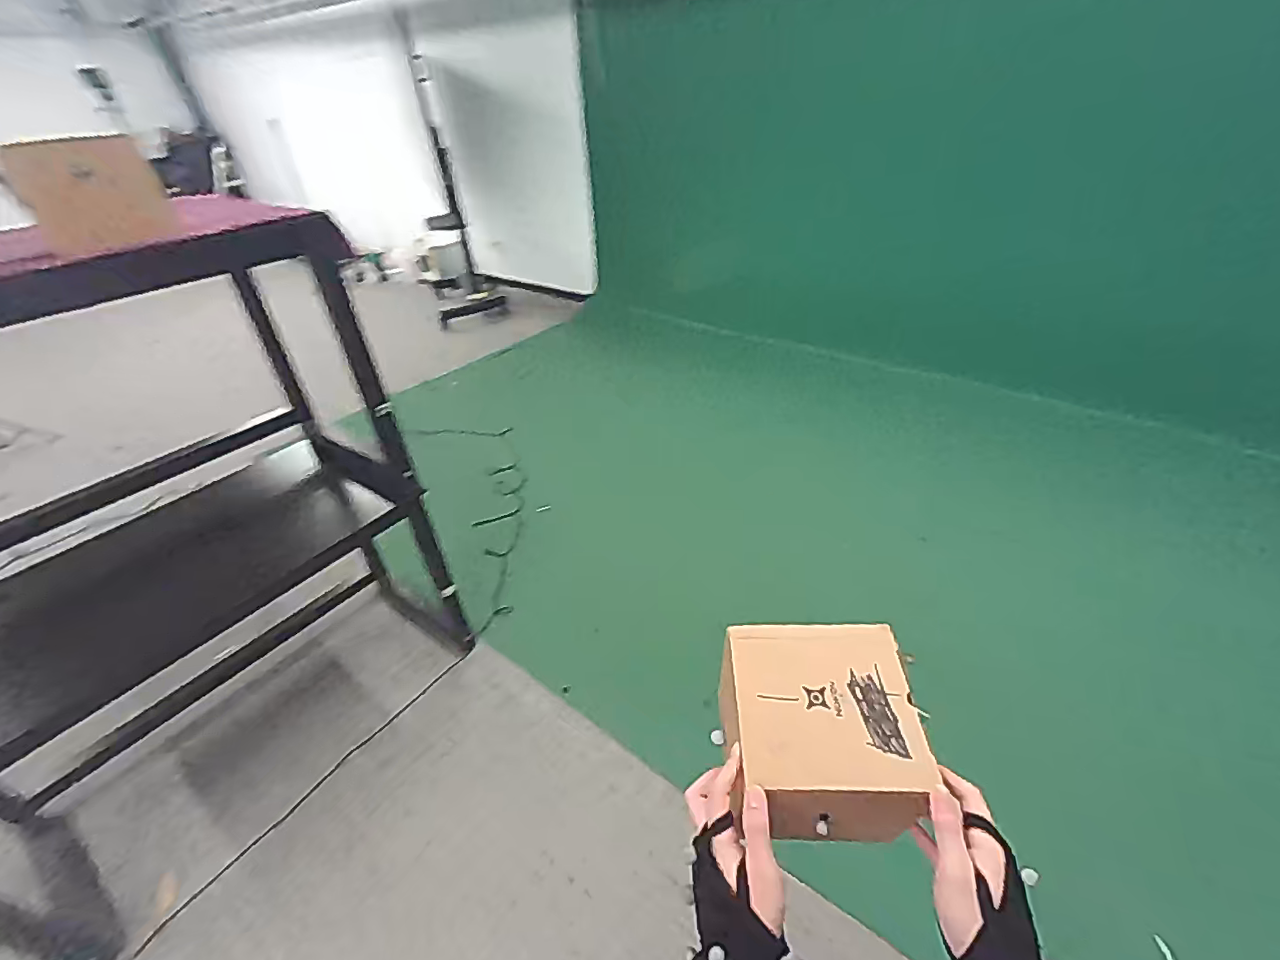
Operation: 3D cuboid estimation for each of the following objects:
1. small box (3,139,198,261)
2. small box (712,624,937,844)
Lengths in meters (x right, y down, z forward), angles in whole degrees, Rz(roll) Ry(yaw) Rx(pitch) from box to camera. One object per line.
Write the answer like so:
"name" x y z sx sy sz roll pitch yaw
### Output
"small box" -0.962 -0.507 0.976 0.168 0.176 0.179 23 44 31
"small box" 0.174 0.270 0.576 0.179 0.176 0.168 -2 43 3
